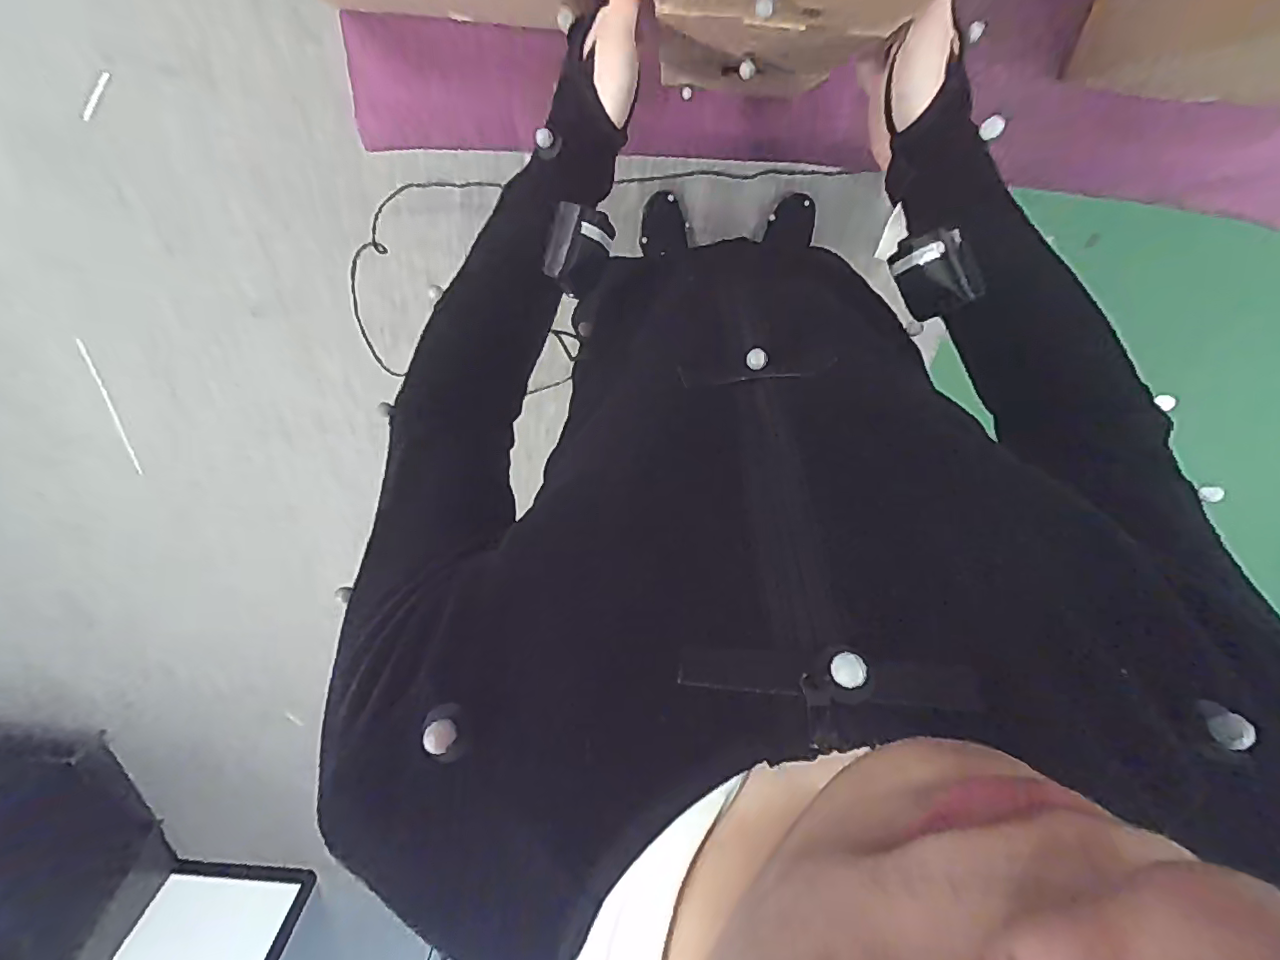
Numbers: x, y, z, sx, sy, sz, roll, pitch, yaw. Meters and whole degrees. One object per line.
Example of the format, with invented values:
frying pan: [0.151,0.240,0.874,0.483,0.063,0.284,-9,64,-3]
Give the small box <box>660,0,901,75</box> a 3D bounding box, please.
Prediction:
small box: [0.104,-0.426,0.396,0.168,0.176,0.179,5,119,0]

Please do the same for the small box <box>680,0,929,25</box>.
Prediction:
small box: [0.100,-0.351,0.253,0.168,0.176,0.179,4,120,-1]

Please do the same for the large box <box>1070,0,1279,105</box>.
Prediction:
large box: [0.663,-0.555,0.416,0.320,0.320,0.408,6,121,0]
